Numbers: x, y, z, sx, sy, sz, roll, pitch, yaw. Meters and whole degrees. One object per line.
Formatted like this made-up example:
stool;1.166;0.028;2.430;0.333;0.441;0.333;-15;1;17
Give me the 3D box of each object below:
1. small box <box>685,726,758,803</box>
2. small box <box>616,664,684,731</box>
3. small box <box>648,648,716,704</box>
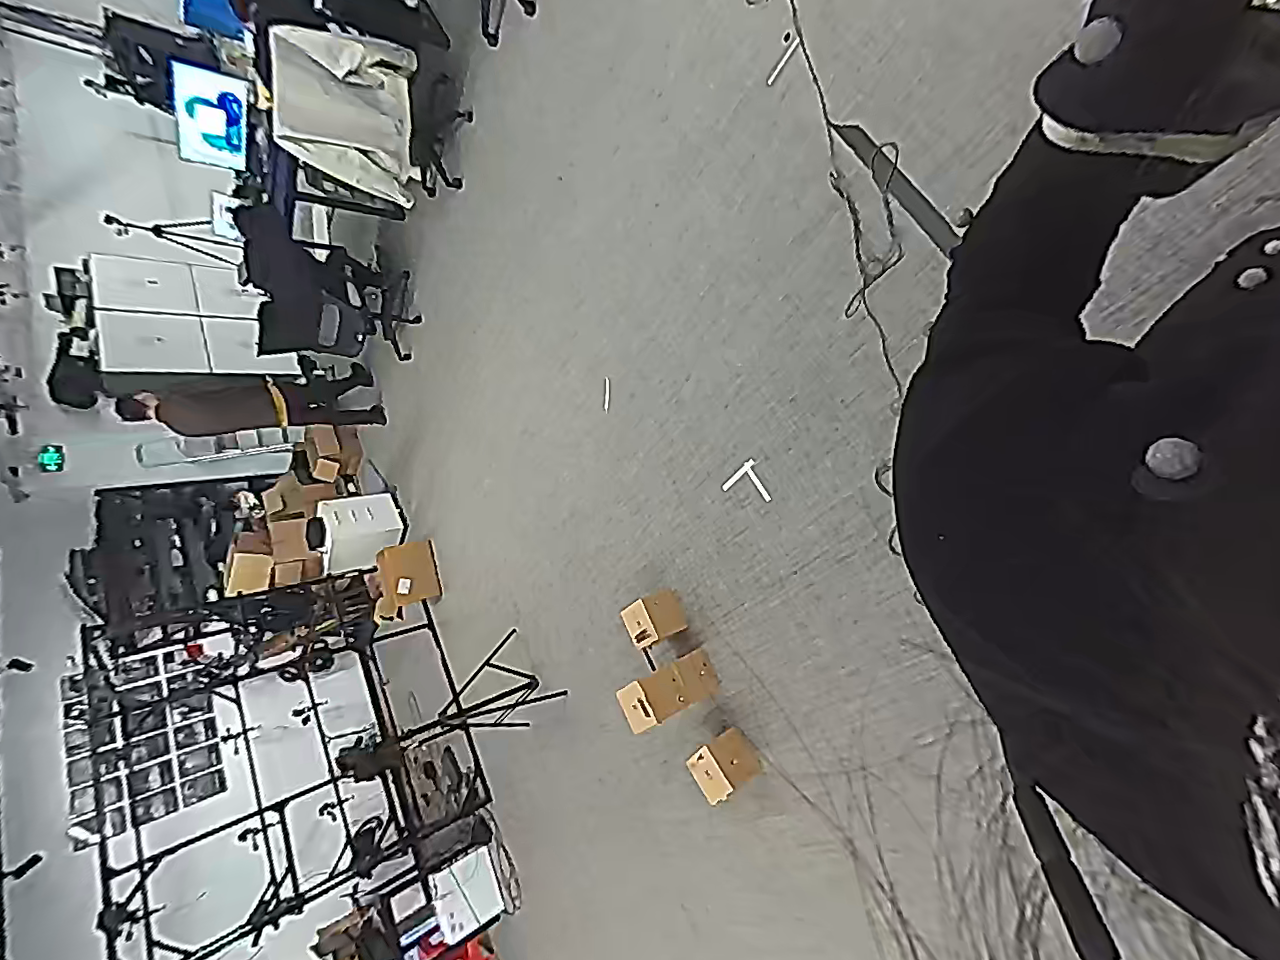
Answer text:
small box;0.311;1.067;2.040;0.179;0.176;0.168;52;131;28
small box;0.044;0.817;2.042;0.179;0.176;0.168;-48;62;43
small box;0.169;0.789;2.145;0.179;0.176;0.168;-43;66;43
